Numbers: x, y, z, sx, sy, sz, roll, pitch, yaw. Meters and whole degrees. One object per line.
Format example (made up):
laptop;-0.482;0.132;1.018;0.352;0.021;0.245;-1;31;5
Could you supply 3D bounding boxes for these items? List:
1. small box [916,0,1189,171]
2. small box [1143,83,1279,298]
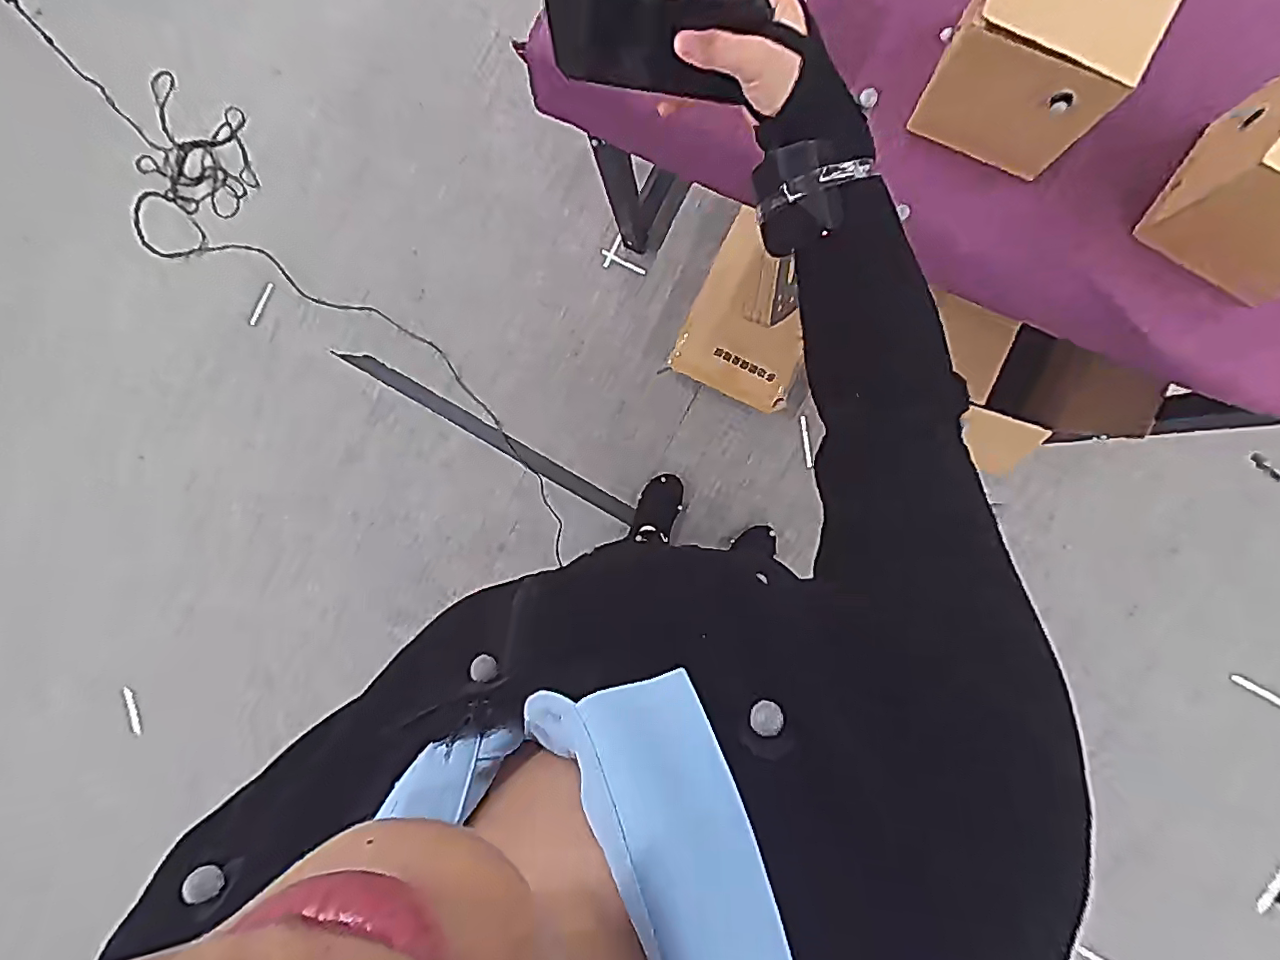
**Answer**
small box;0.460;-0.493;0.616;0.179;0.176;0.168;27;91;5
small box;0.731;-0.328;0.592;0.179;0.176;0.168;34;94;4
